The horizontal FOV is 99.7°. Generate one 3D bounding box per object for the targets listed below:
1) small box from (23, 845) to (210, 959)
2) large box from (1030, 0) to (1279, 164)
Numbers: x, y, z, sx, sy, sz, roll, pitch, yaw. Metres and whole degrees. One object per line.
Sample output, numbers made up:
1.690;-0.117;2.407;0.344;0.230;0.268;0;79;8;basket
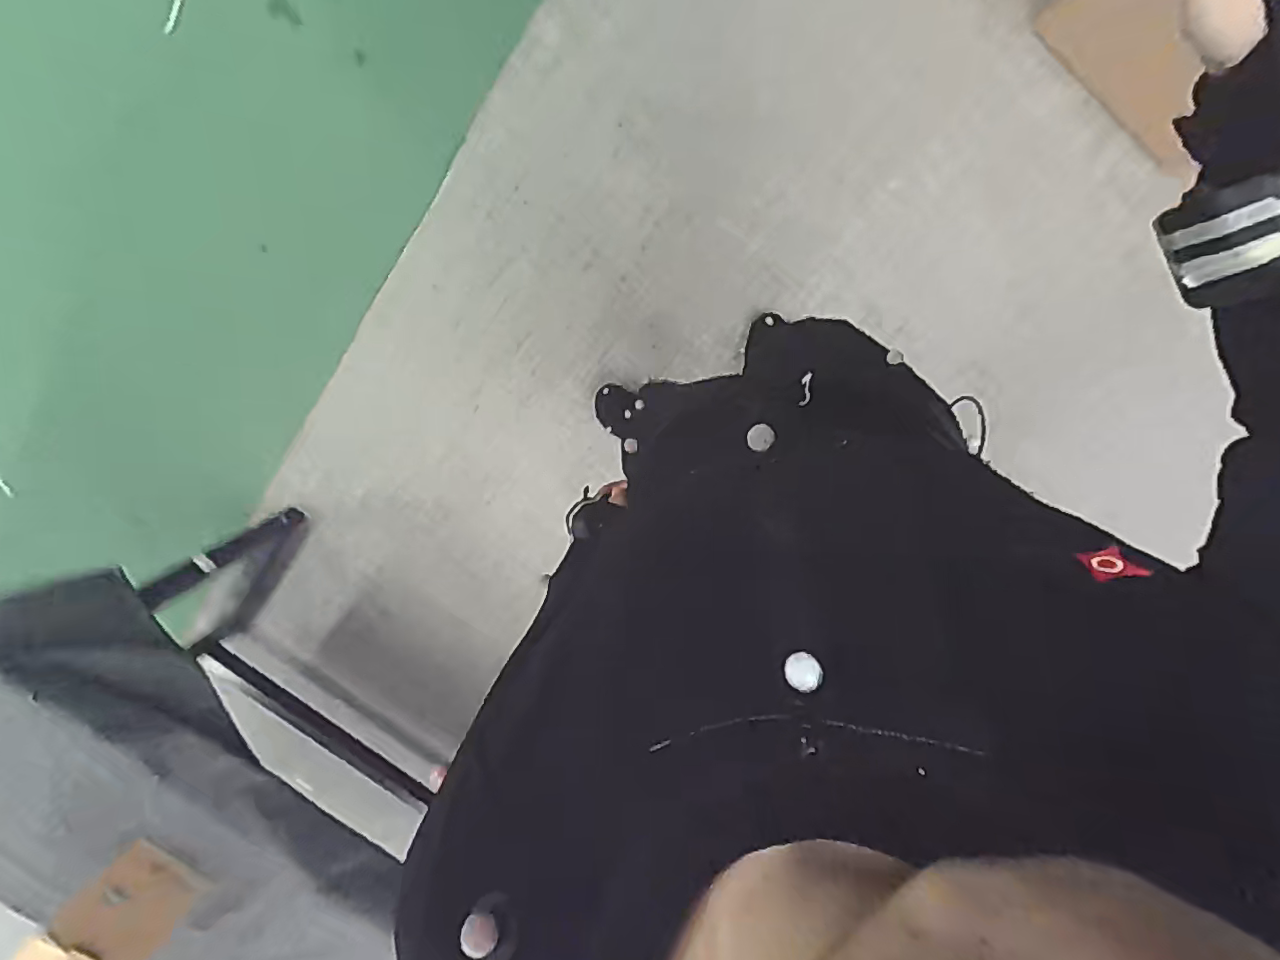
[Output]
-0.904;0.784;0.938;0.168;0.176;0.179;42;111;-7;small box
0.939;-0.782;0.831;0.408;0.320;0.320;38;111;-8;large box
